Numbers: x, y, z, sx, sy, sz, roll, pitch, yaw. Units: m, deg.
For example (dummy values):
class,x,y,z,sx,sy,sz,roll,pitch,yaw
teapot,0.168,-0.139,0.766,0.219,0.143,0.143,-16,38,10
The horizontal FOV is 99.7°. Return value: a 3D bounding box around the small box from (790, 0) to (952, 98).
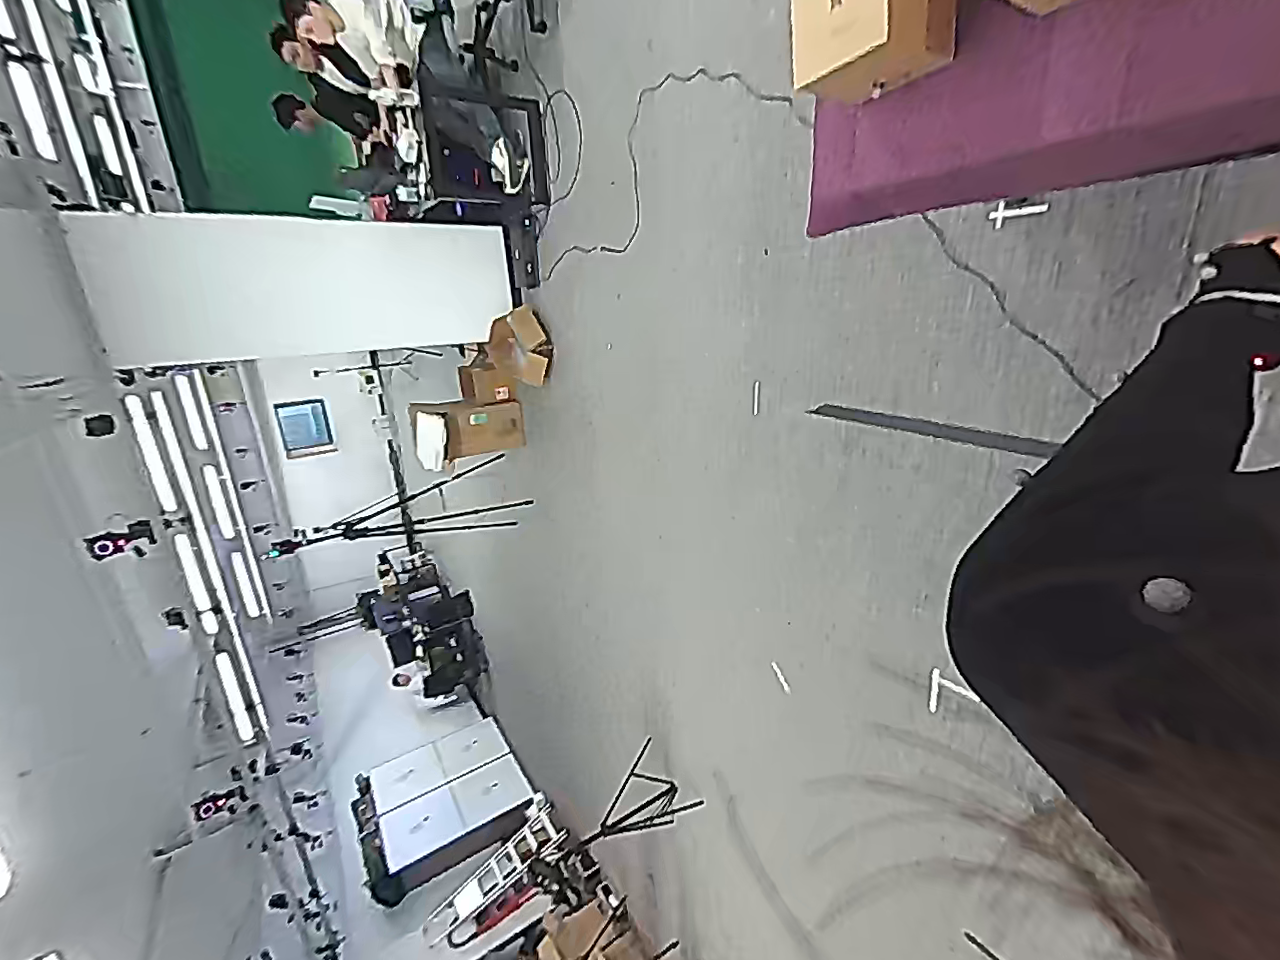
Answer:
class,x,y,z,sx,sy,sz,roll,pitch,yaw
small box,0.345,-0.709,0.807,0.168,0.176,0.179,18,117,55
